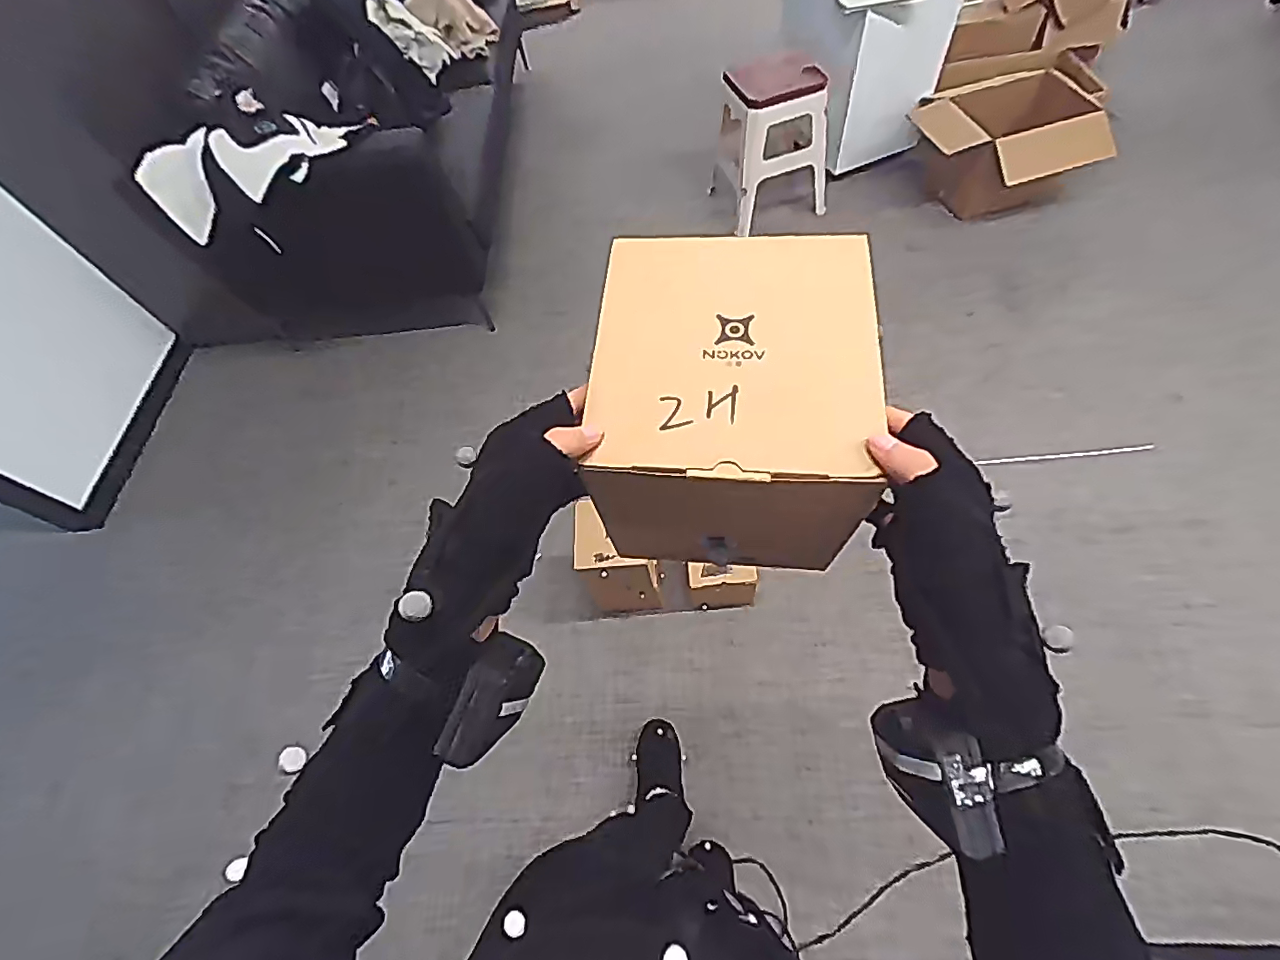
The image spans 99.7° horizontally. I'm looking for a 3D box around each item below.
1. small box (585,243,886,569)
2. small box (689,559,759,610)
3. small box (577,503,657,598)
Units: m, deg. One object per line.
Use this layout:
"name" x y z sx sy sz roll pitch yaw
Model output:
"small box" 0.066 -0.047 0.401 0.168 0.176 0.179 3 65 9
"small box" 0.214 0.232 1.413 0.168 0.176 0.179 -6 58 5
"small box" -0.050 0.169 1.299 0.168 0.176 0.179 -5 58 5
